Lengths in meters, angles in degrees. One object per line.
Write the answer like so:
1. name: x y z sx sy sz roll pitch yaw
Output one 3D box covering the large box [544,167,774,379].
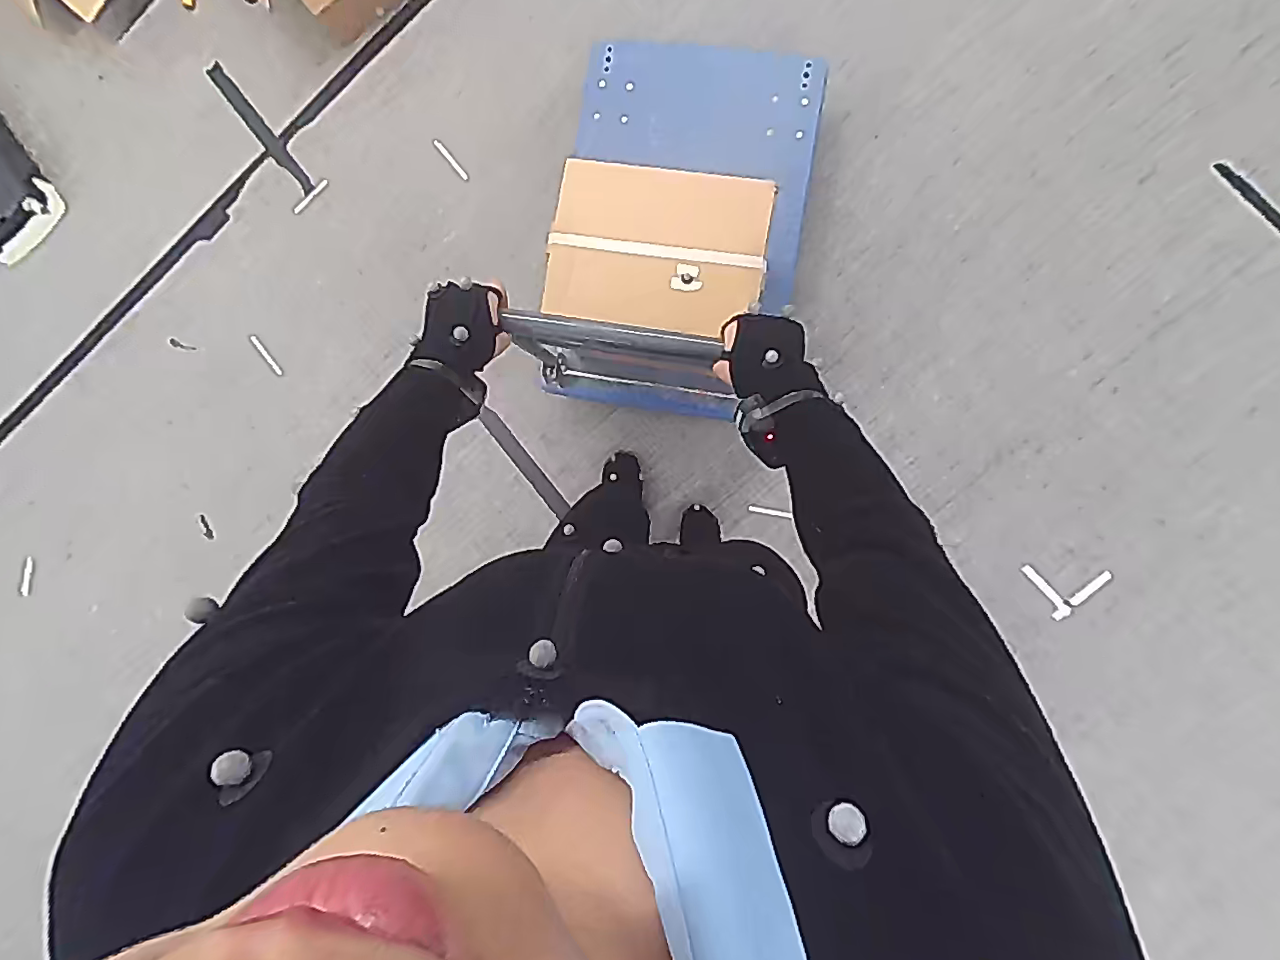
1. large box: 0.041 -0.420 1.165 0.408 0.320 0.320 9 91 5
